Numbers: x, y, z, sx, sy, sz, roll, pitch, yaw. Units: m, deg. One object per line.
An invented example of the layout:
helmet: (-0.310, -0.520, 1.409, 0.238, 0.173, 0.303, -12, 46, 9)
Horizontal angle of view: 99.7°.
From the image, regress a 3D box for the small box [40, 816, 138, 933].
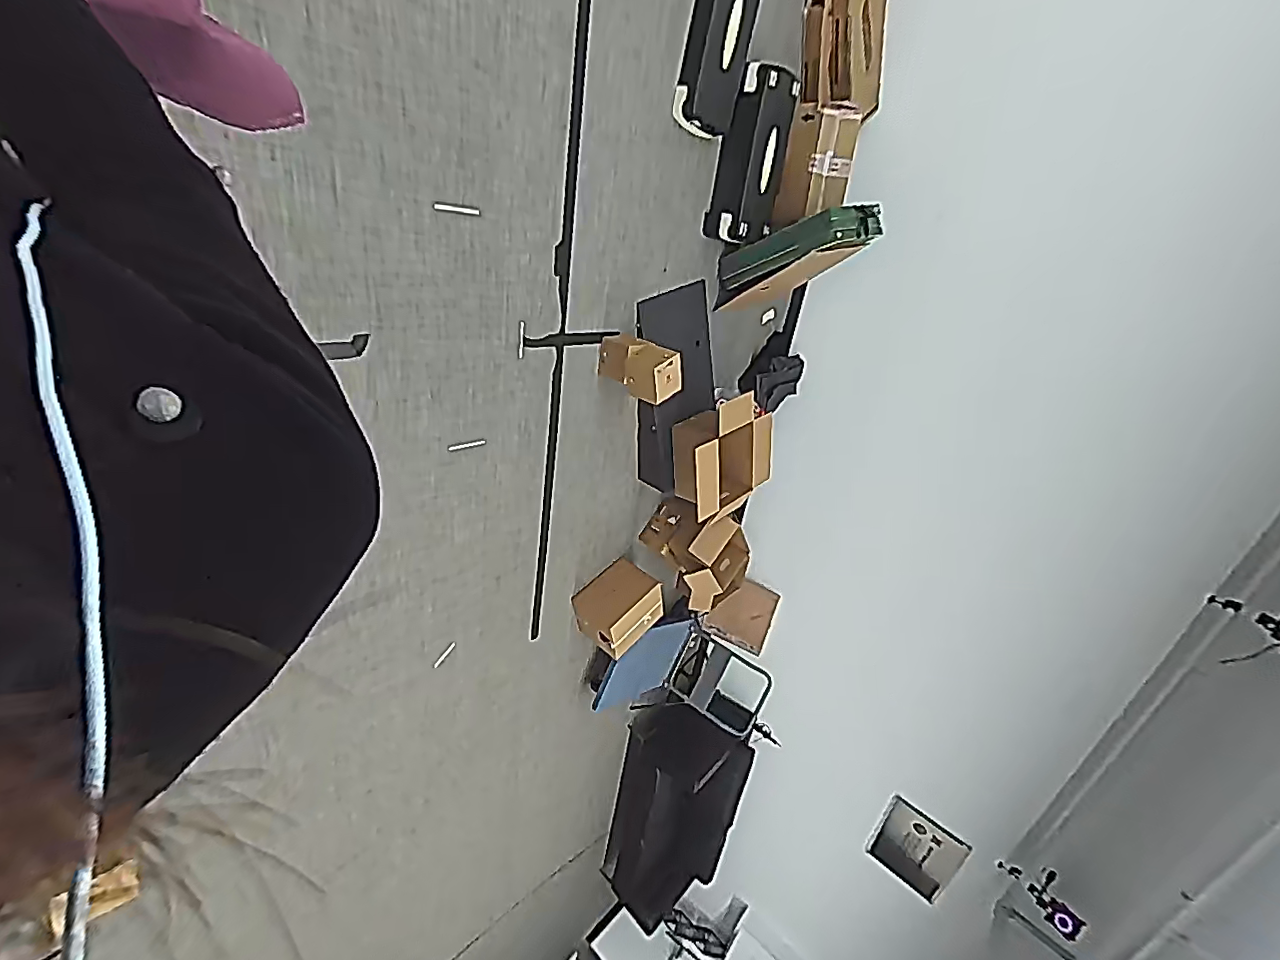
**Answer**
small box: (-1.597, 1.132, 1.566, 0.179, 0.176, 0.168, -12, 123, -51)
